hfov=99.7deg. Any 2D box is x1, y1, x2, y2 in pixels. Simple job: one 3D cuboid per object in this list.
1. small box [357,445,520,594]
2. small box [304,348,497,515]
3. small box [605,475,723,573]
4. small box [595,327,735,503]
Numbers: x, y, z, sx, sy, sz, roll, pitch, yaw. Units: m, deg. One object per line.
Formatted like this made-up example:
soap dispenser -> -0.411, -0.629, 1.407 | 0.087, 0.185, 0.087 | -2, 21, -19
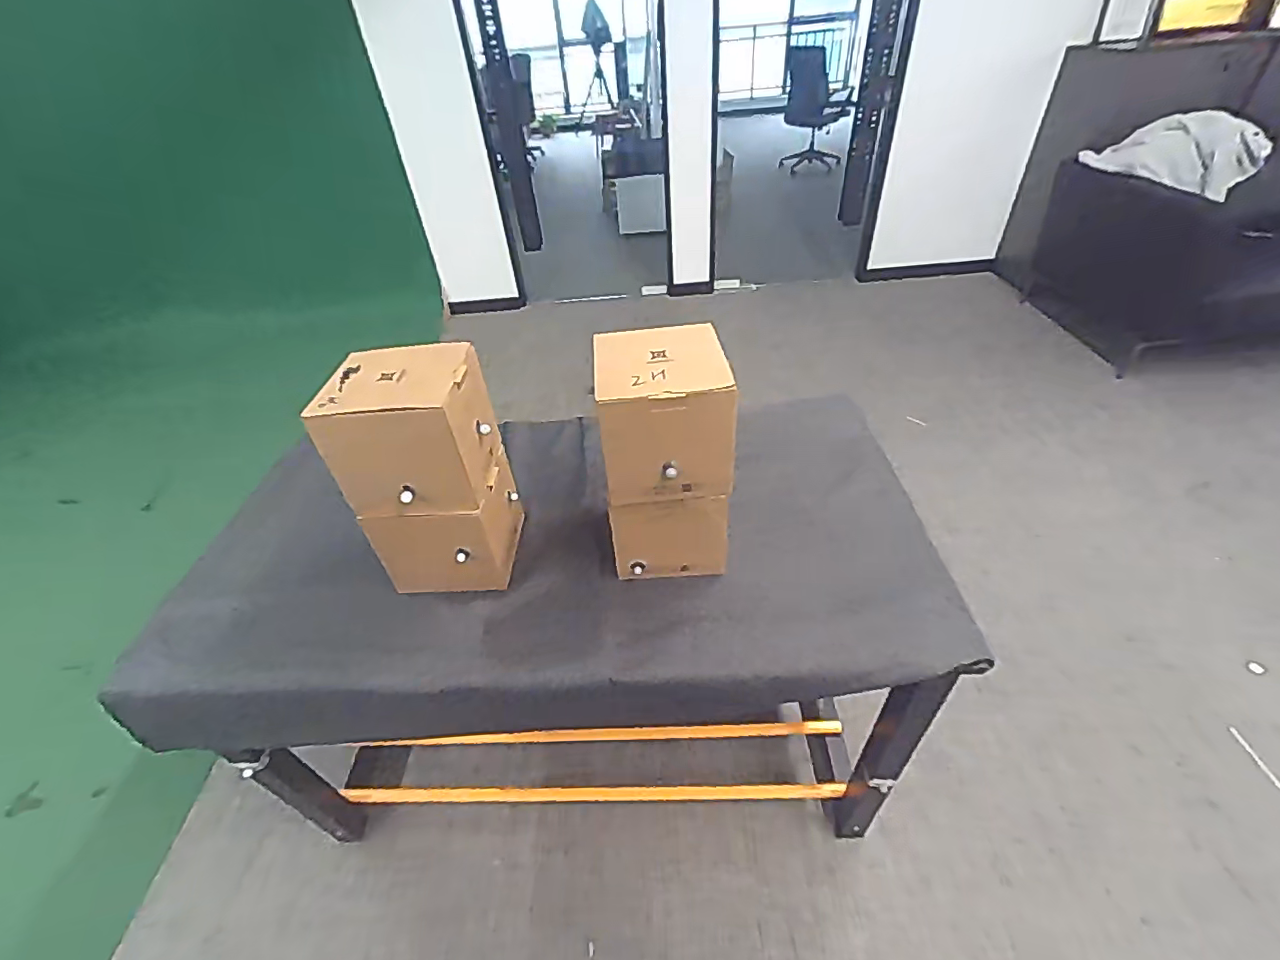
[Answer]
small box -> -0.298, 0.063, 0.850 | 0.179, 0.176, 0.168 | -4, 39, 3
small box -> -0.310, -0.067, 0.751 | 0.179, 0.176, 0.168 | -3, 39, 1
small box -> 0.038, 0.034, 0.849 | 0.168, 0.176, 0.179 | -4, 39, 1
small box -> 0.029, -0.090, 0.741 | 0.168, 0.176, 0.179 | -7, 40, -1
